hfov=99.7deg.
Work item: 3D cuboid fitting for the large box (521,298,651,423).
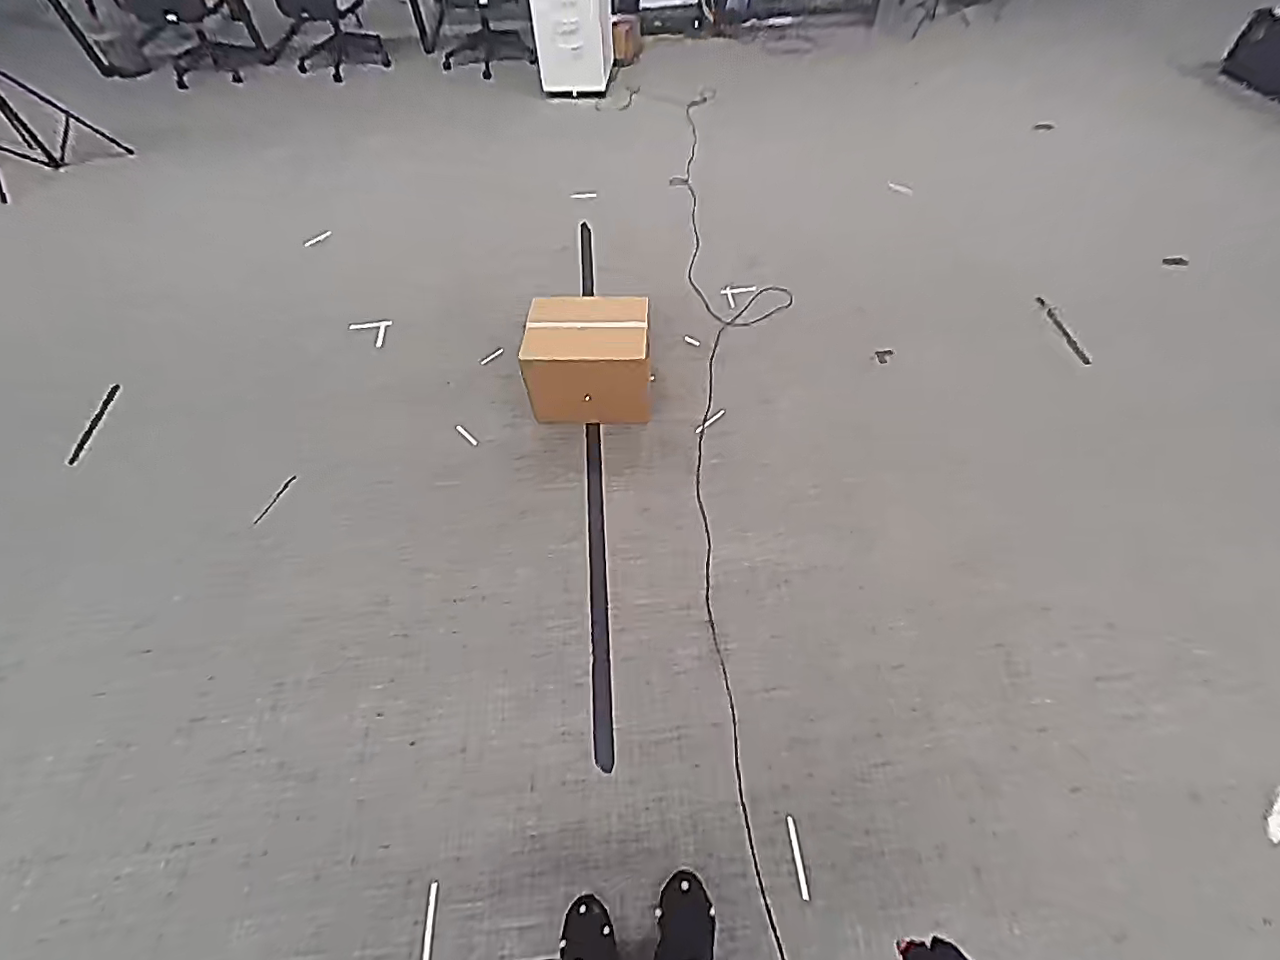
[{"bbox_3d":[-0.170,-0.411,1.886,0.408,0.320,0.320,1,56,3],"label":"large box"}]
